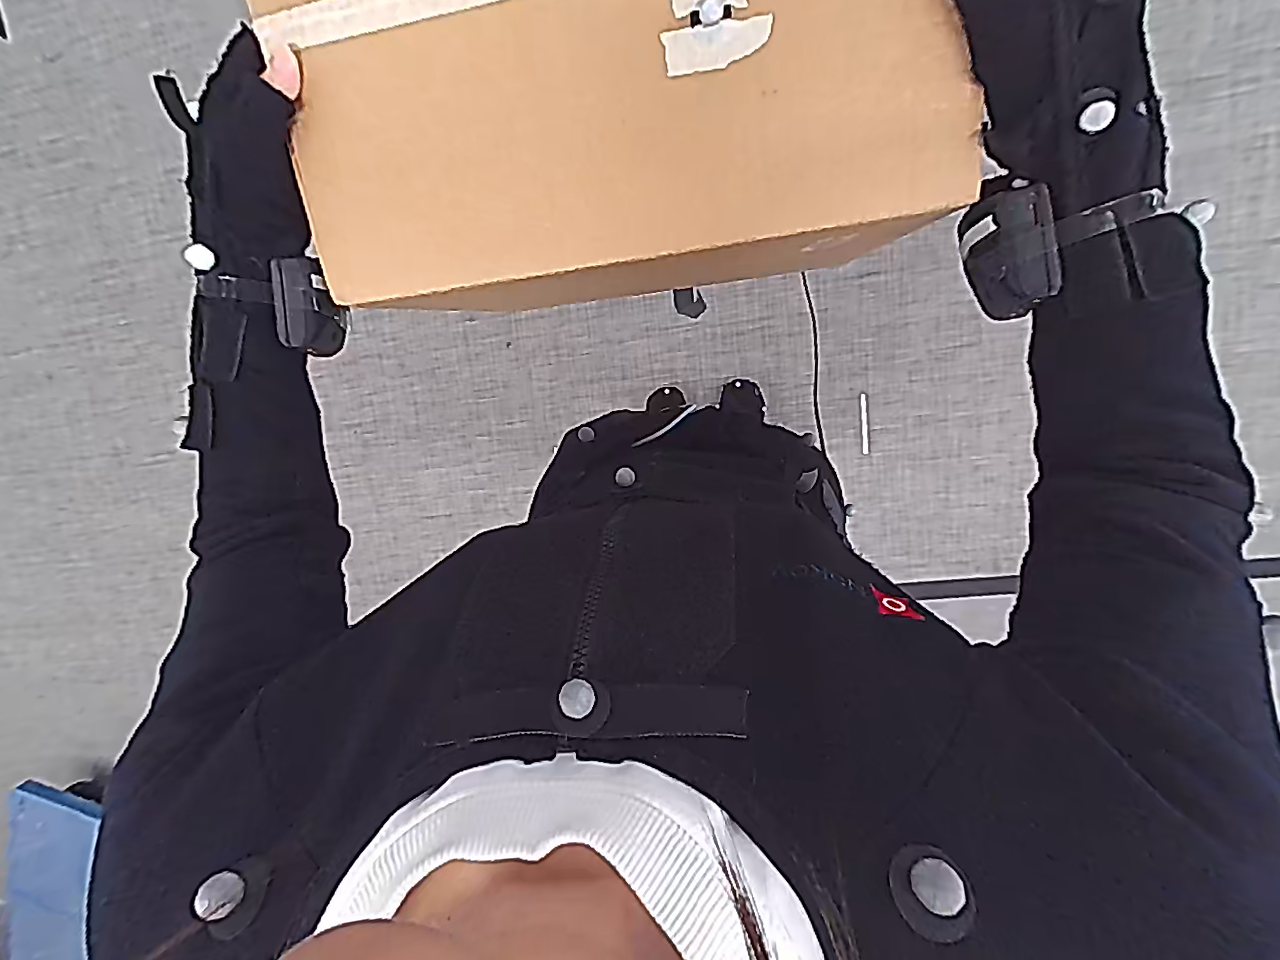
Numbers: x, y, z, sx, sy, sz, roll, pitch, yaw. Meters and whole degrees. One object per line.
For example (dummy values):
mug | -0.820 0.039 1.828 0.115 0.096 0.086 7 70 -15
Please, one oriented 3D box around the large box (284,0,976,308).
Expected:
large box | -0.005 -0.335 0.448 0.408 0.320 0.320 -6 106 9
